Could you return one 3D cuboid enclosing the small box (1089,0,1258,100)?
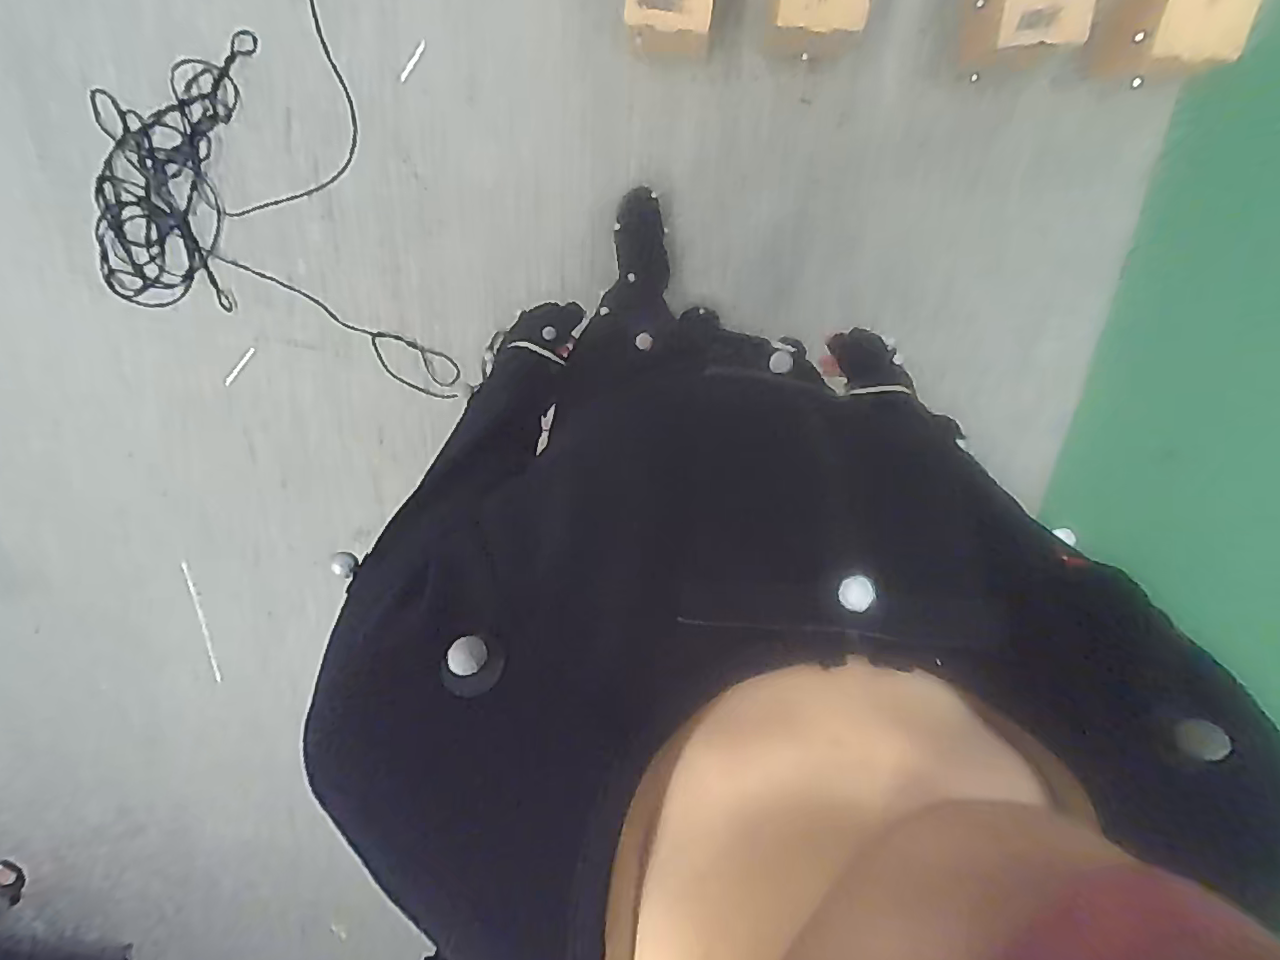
[{"bbox_3d":[1.045,-0.885,1.068,0.168,0.176,0.179,3,110,2],"label":"small box"}]
